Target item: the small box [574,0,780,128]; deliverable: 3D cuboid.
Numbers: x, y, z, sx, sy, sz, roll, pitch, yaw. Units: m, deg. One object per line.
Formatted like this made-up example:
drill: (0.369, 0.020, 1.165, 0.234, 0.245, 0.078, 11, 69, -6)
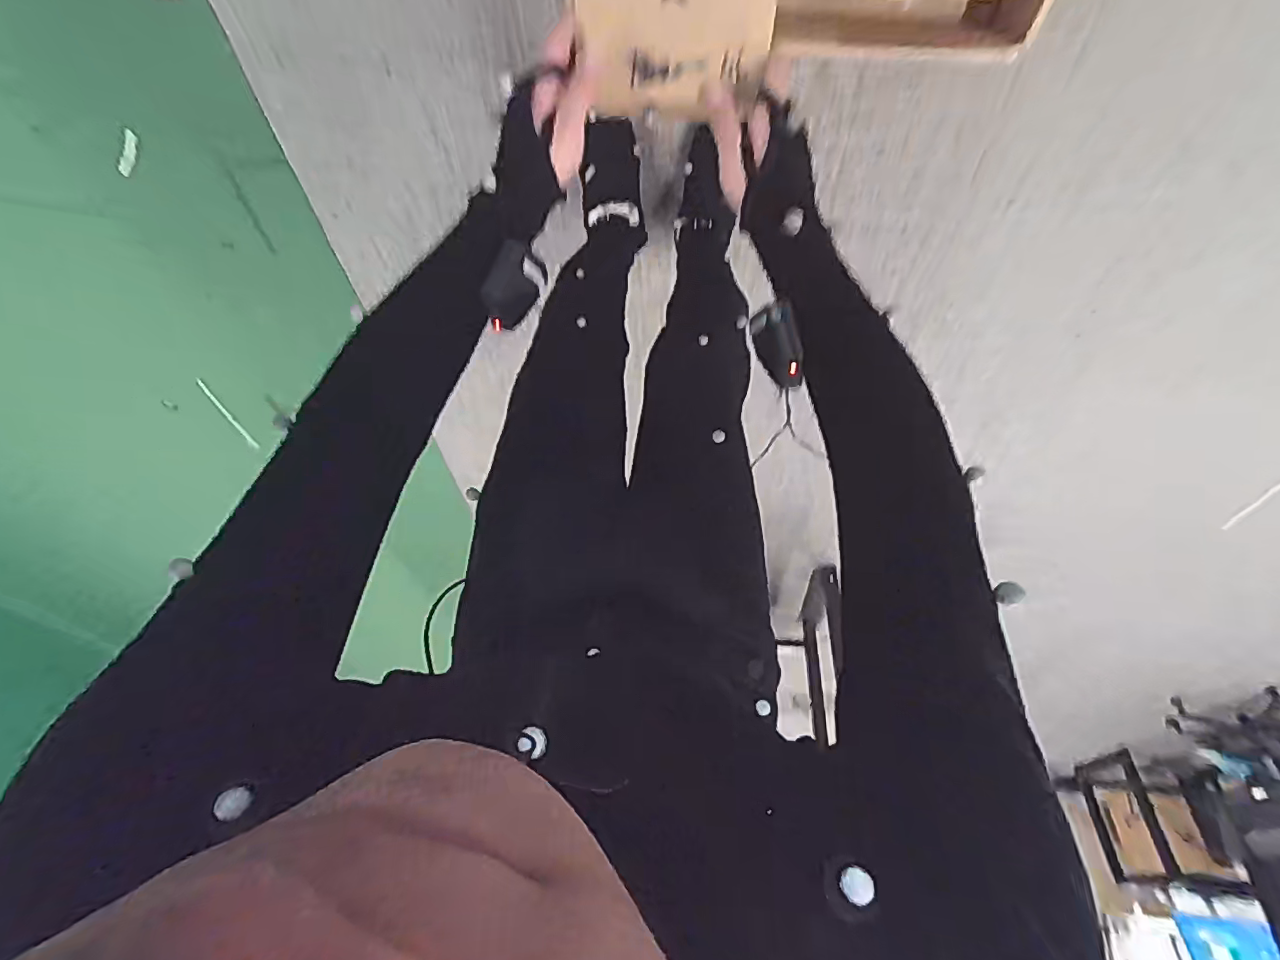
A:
small box: (0.031, -0.434, 0.489, 0.168, 0.176, 0.179, 3, 120, 1)
